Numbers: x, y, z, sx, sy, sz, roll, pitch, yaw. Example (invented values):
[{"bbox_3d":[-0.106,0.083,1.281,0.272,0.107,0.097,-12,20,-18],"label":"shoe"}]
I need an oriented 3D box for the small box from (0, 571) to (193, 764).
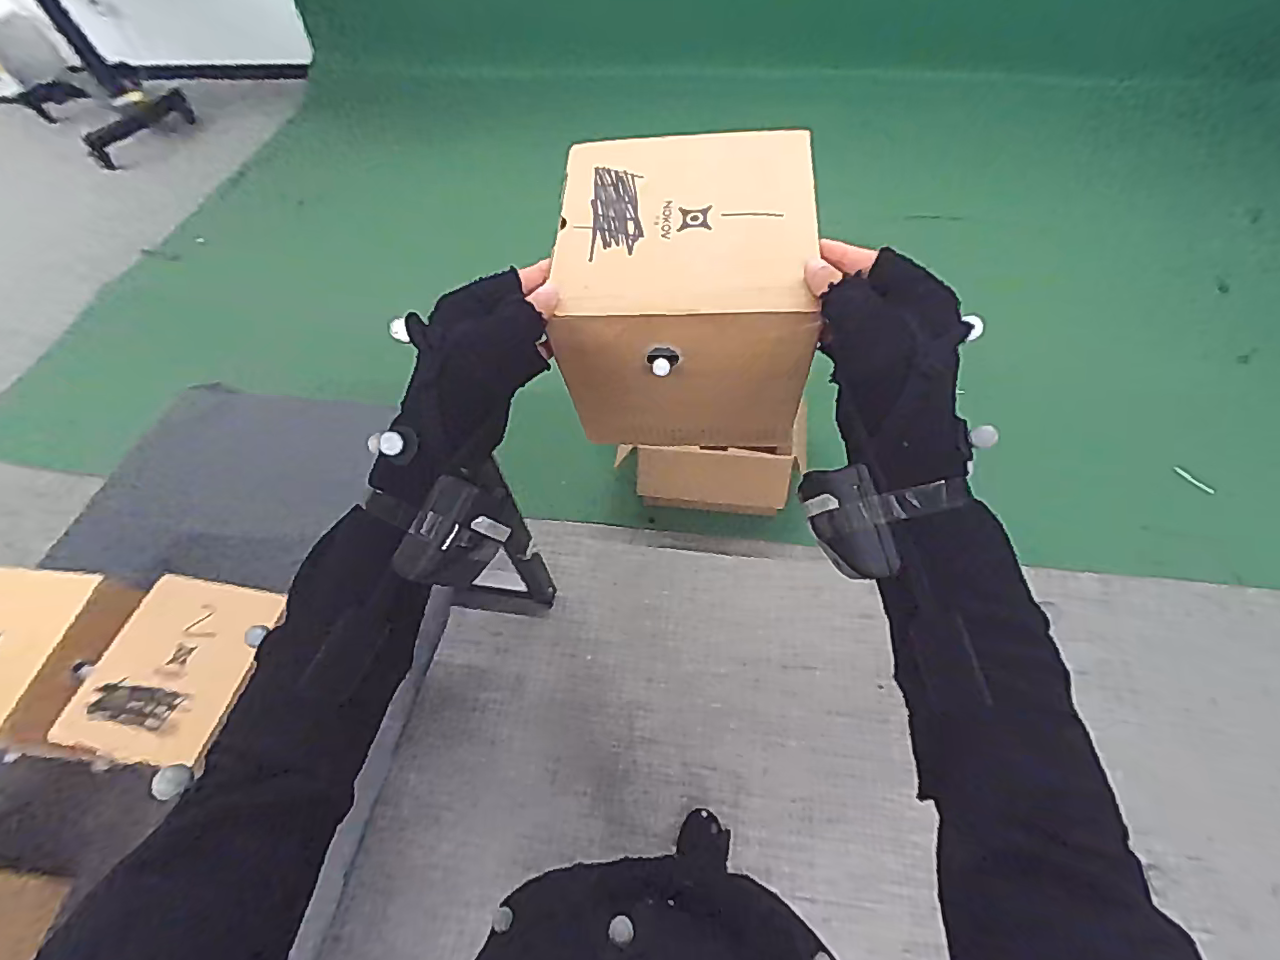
[{"bbox_3d":[-0.691,0.224,0.639,0.168,0.176,0.179,3,58,5],"label":"small box"}]

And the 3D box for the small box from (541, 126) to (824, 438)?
[{"bbox_3d":[0.039,-0.143,0.431,0.179,0.176,0.168,1,66,8],"label":"small box"}]

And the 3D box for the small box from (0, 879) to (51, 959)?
[{"bbox_3d":[-0.709,0.461,0.480,0.168,0.176,0.179,3,57,6],"label":"small box"}]
